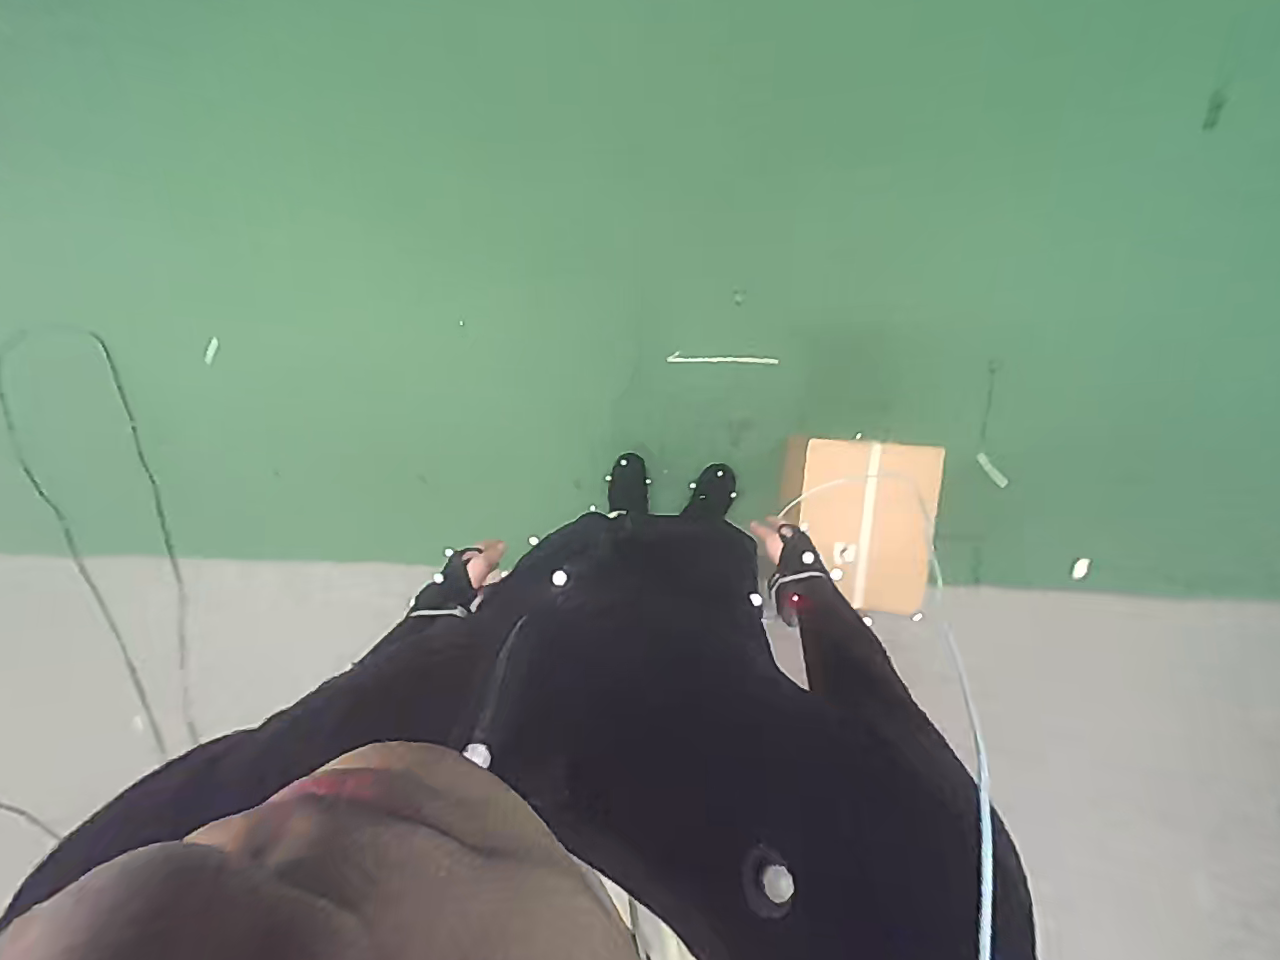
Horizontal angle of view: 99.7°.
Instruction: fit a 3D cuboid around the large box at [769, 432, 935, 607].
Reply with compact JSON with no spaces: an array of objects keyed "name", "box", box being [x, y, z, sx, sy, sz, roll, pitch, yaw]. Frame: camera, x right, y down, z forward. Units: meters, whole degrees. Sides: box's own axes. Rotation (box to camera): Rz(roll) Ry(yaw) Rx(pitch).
[{"name":"large box","box":[0.540,0.083,1.449,0.320,0.320,0.408,5,98,5]}]
